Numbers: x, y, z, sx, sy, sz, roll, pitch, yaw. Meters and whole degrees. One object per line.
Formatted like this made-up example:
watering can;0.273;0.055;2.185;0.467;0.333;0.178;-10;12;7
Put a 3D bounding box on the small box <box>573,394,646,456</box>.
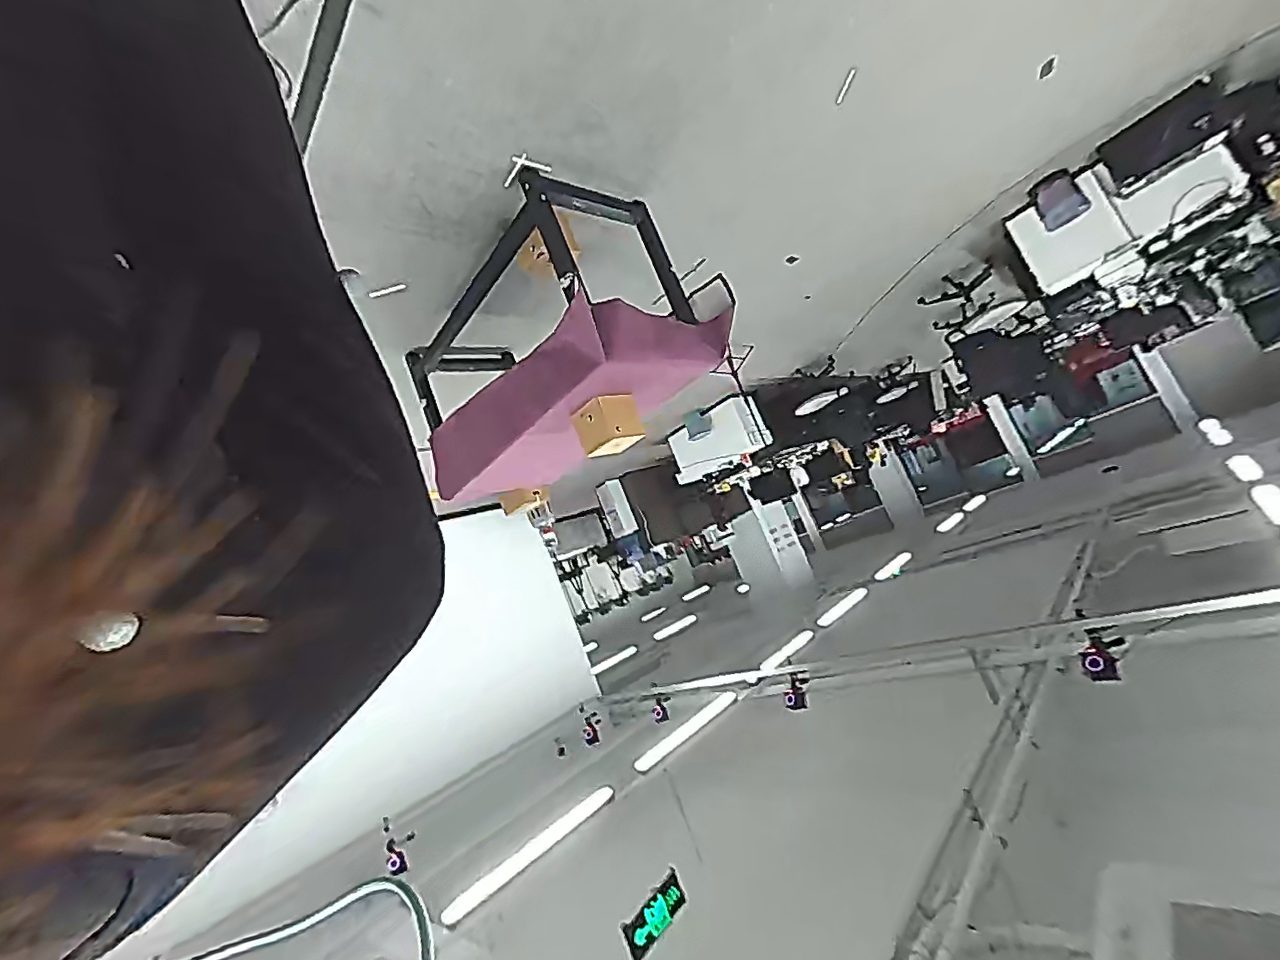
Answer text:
small box;-0.113;-0.203;1.970;0.179;0.176;0.168;-13;167;-46
